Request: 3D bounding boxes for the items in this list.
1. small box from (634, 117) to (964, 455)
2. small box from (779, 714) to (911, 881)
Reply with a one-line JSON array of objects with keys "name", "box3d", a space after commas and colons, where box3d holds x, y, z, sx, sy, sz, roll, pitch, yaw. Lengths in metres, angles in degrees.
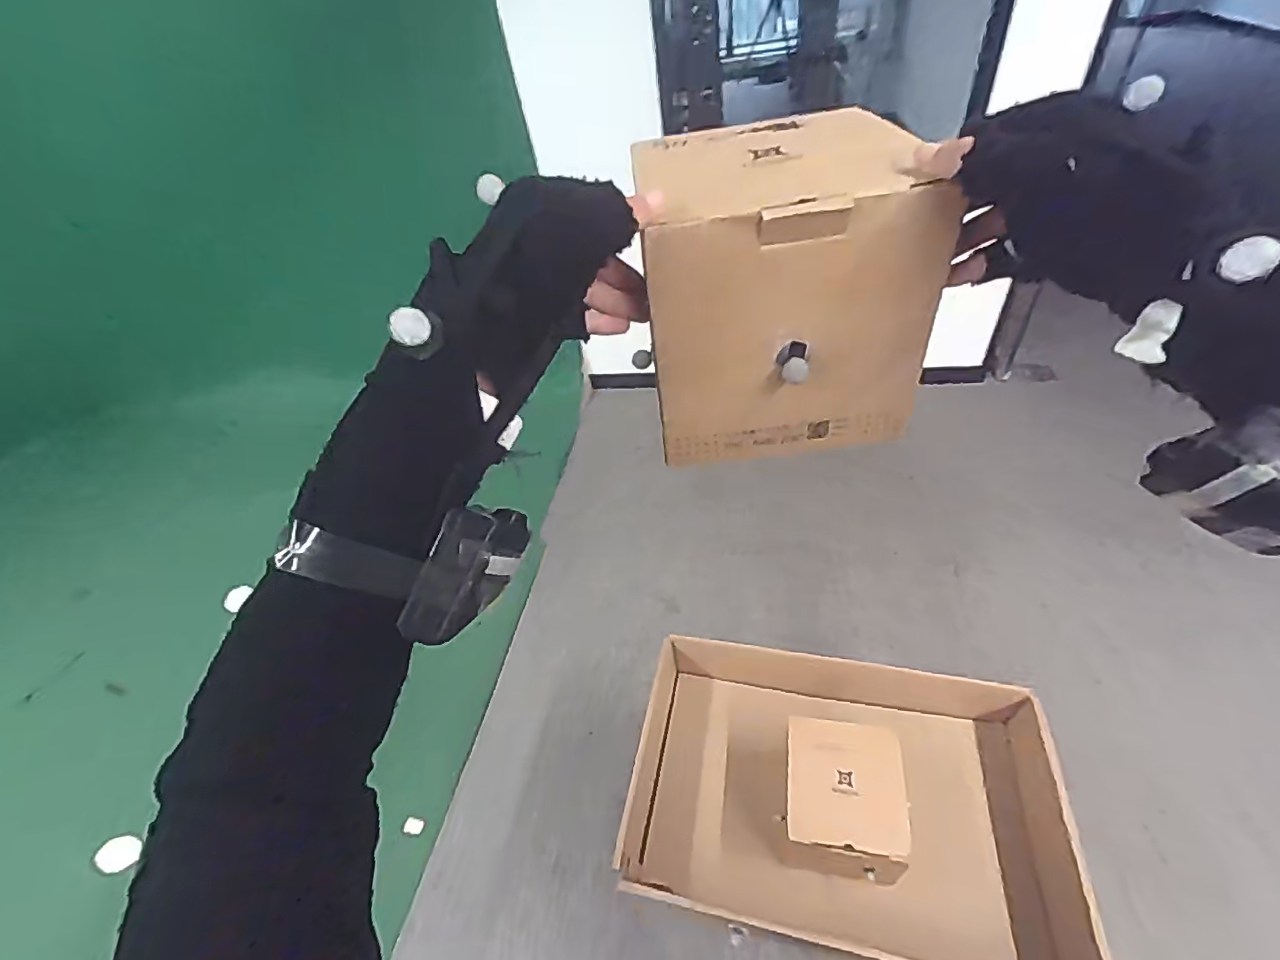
[{"name": "small box", "box3d": [0.088, -0.130, 0.385, 0.168, 0.176, 0.179, -6, 44, 3]}, {"name": "small box", "box3d": [0.310, 0.500, 0.849, 0.168, 0.176, 0.179, 3, 44, 12]}]
